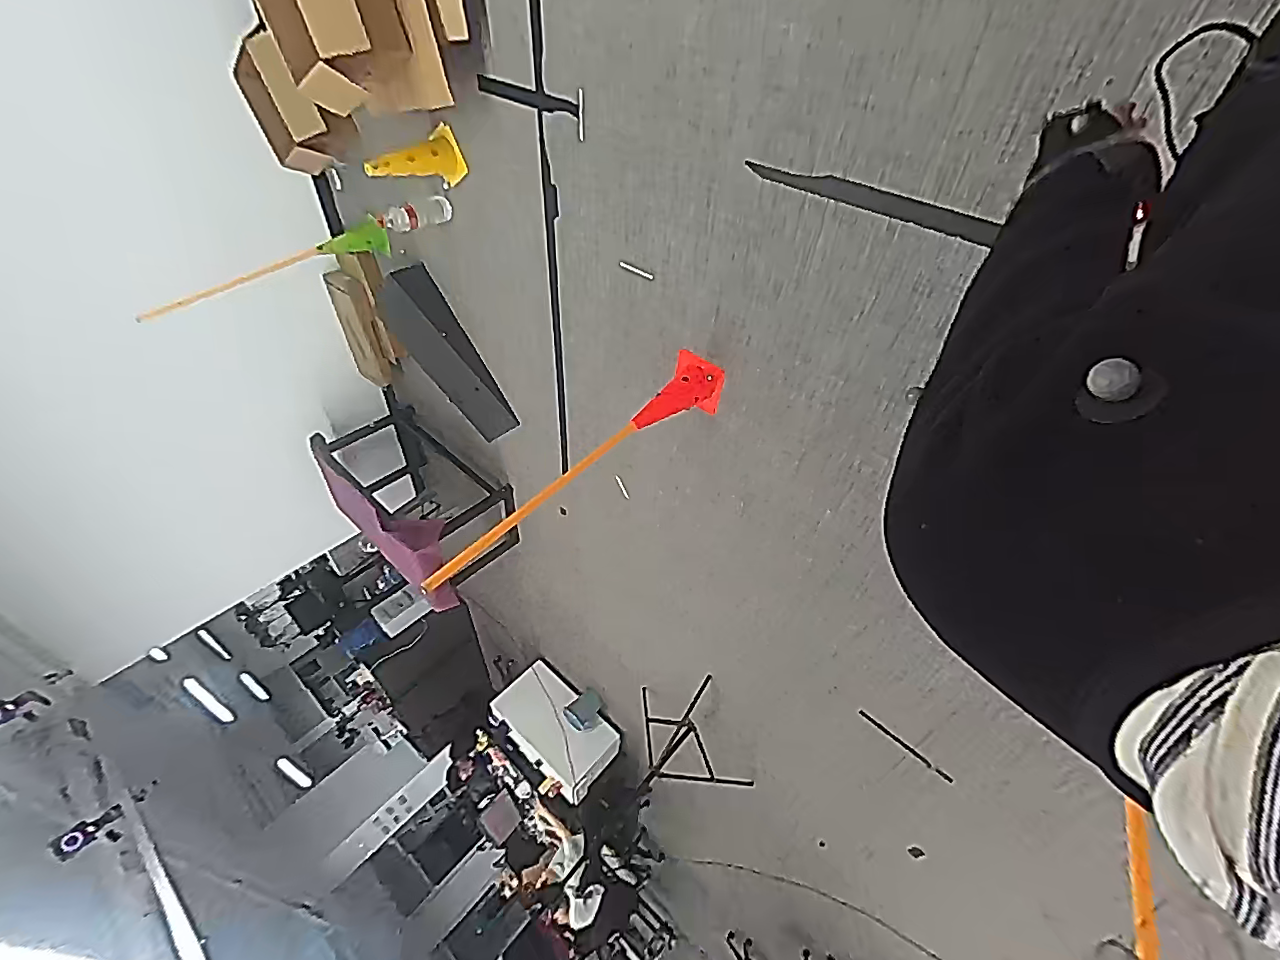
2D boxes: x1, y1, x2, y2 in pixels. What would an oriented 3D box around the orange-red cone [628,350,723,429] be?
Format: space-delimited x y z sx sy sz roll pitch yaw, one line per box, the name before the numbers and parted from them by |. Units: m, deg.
orange-red cone | 0.089 -0.267 1.844 0.199 0.360 0.198 37 142 24
